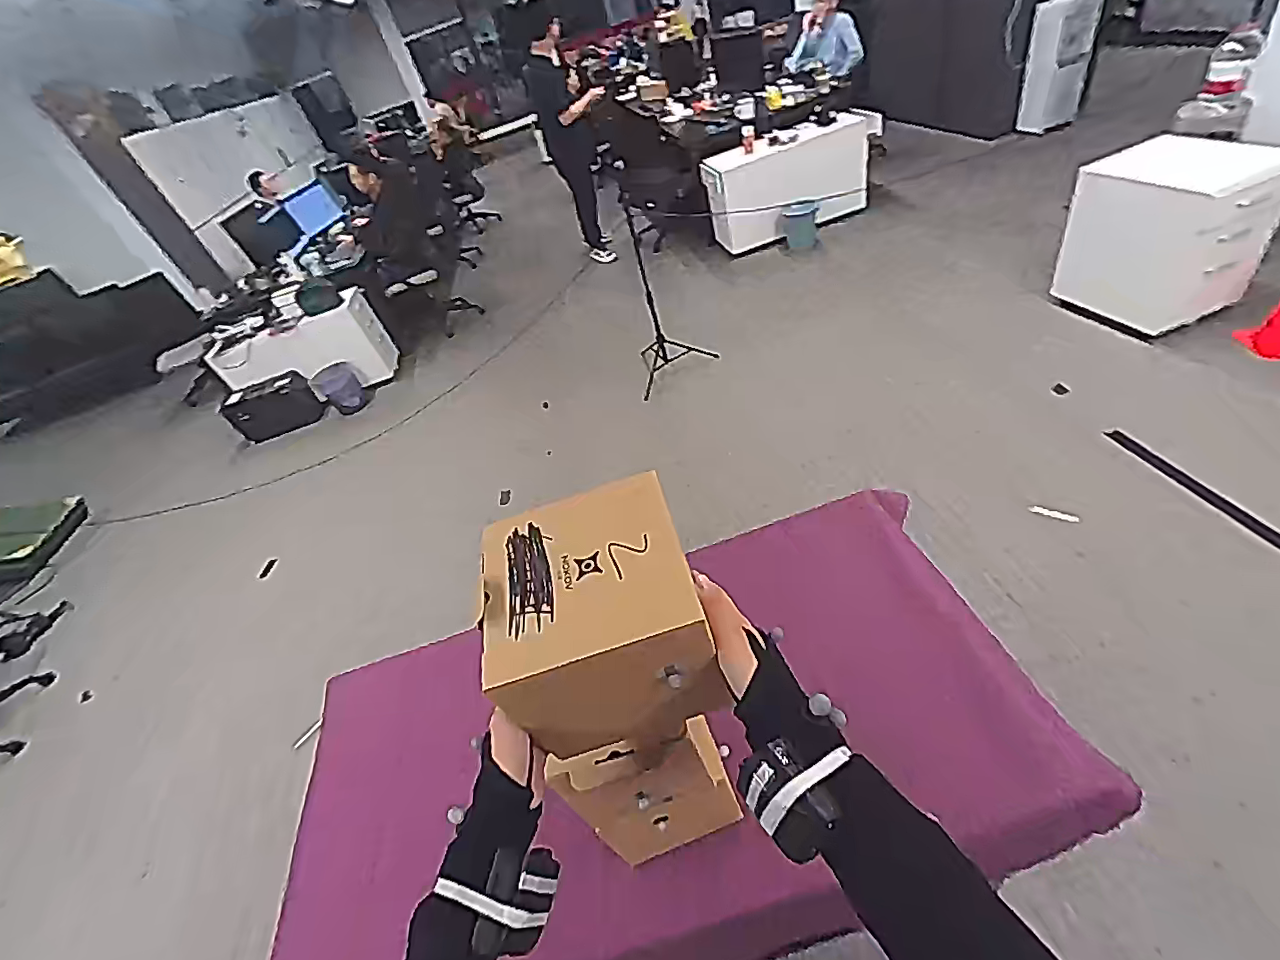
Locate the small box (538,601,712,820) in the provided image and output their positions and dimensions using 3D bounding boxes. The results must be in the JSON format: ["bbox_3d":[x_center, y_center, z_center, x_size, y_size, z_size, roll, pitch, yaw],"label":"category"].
[{"bbox_3d":[-0.020,0.288,0.677,0.168,0.176,0.179,-18,41,3],"label":"small box"}]

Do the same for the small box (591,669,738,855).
[{"bbox_3d":[0.025,0.407,0.782,0.179,0.176,0.168,-21,41,-2],"label":"small box"}]
